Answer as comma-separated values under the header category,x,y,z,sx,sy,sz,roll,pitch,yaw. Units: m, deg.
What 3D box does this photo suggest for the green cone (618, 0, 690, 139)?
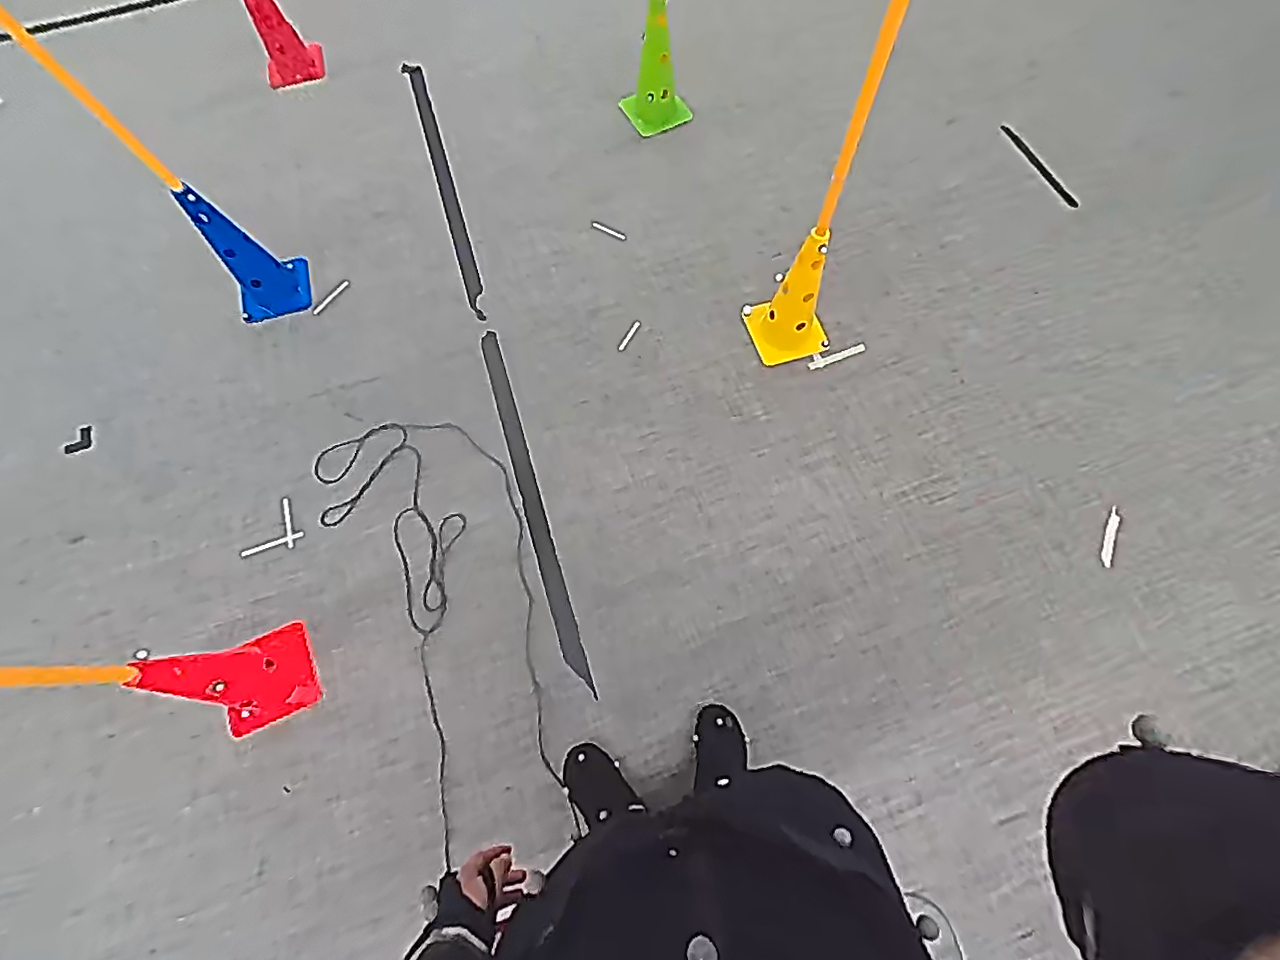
category,x,y,z,sx,sy,sz,roll,pitch,yaw
green cone,0.044,-1.328,1.707,0.200,0.368,0.202,-28,73,-9

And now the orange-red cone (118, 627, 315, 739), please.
category,x,y,z,sx,sy,sz,roll,pitch,yaw
orange-red cone,-0.847,0.391,1.063,0.199,0.360,0.198,-22,70,-8

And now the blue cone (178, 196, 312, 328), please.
category,x,y,z,sx,sy,sz,roll,pitch,yaw
blue cone,-1.093,-0.611,1.474,0.193,0.380,0.192,-16,70,-4
